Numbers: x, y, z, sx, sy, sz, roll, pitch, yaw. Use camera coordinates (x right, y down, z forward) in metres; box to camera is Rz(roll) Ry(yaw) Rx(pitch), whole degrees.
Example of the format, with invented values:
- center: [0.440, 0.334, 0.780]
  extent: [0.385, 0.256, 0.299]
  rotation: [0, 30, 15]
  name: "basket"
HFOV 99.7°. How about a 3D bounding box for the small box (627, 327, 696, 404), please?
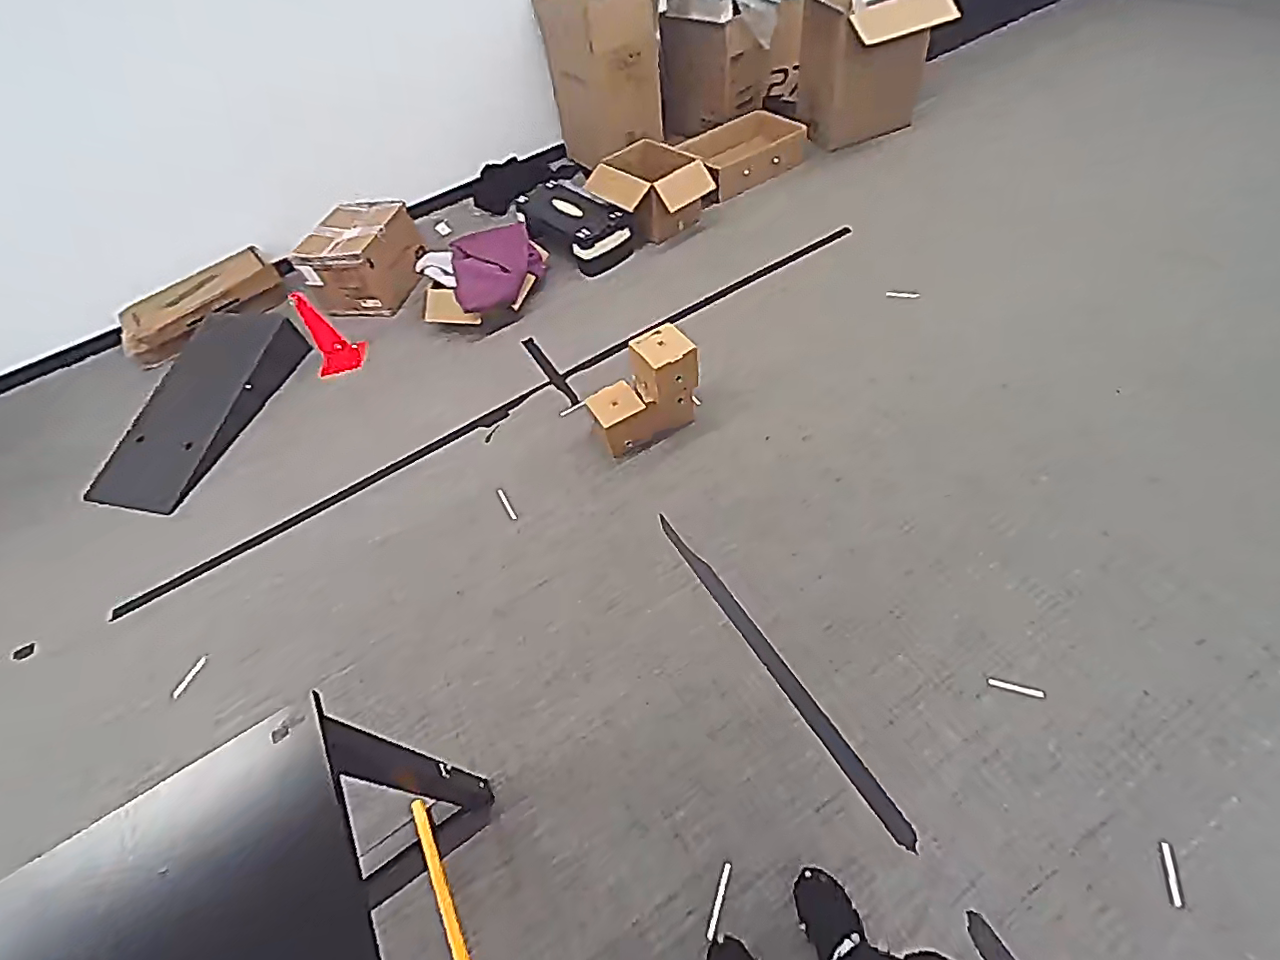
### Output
- center: [0.079, -0.382, 1.851]
  extent: [0.168, 0.176, 0.179]
  rotation: [-30, 55, -12]
  name: "small box"
